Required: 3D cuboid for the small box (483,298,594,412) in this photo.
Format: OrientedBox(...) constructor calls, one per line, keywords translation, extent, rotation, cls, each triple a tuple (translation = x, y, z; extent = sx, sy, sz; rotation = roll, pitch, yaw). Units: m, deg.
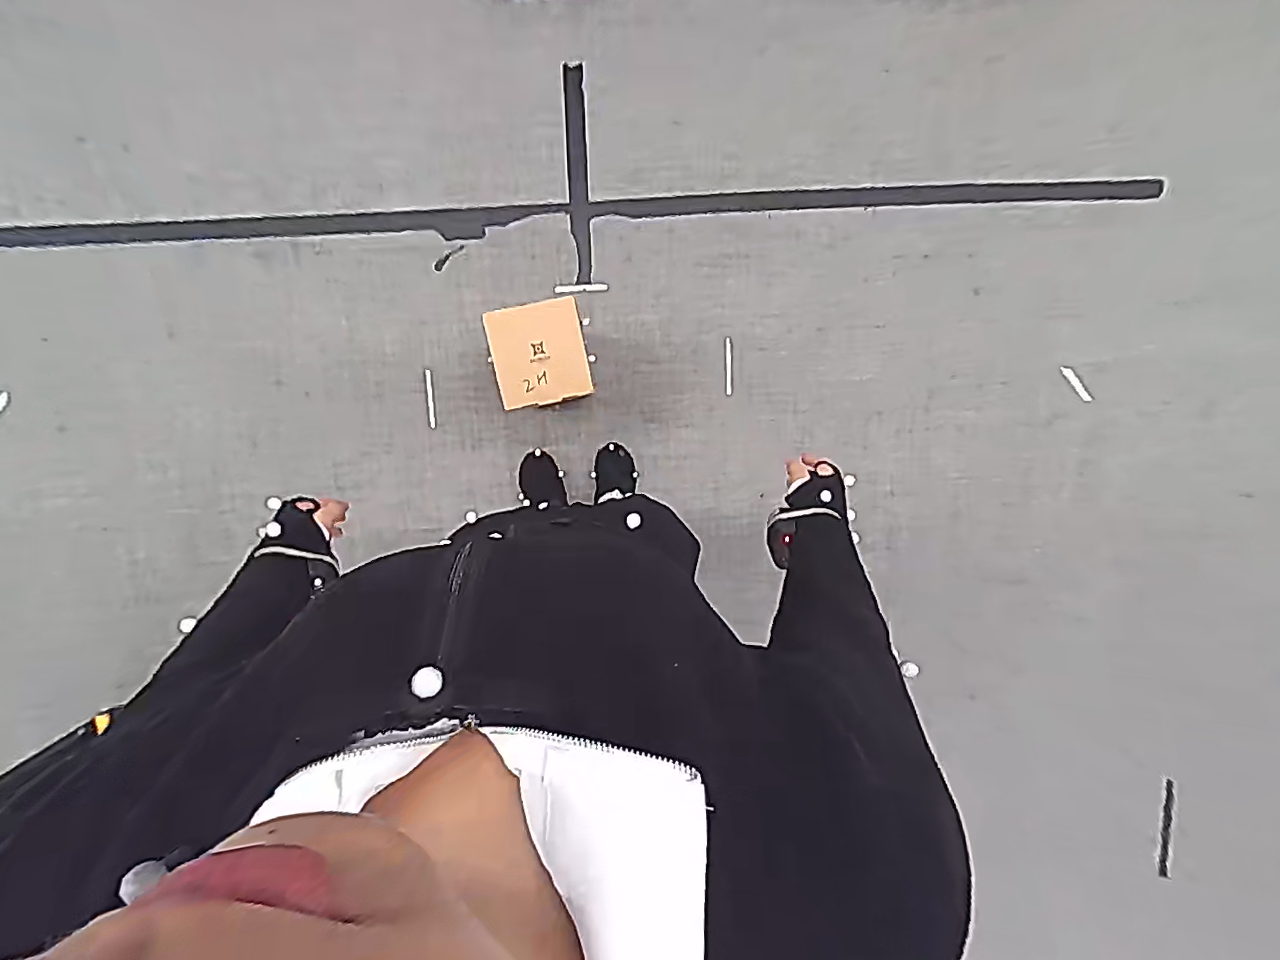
OrientedBox(translation=(-0.184, -0.231, 1.032), extent=(0.168, 0.176, 0.179), rotation=(-12, 99, -2), cls="small box")
